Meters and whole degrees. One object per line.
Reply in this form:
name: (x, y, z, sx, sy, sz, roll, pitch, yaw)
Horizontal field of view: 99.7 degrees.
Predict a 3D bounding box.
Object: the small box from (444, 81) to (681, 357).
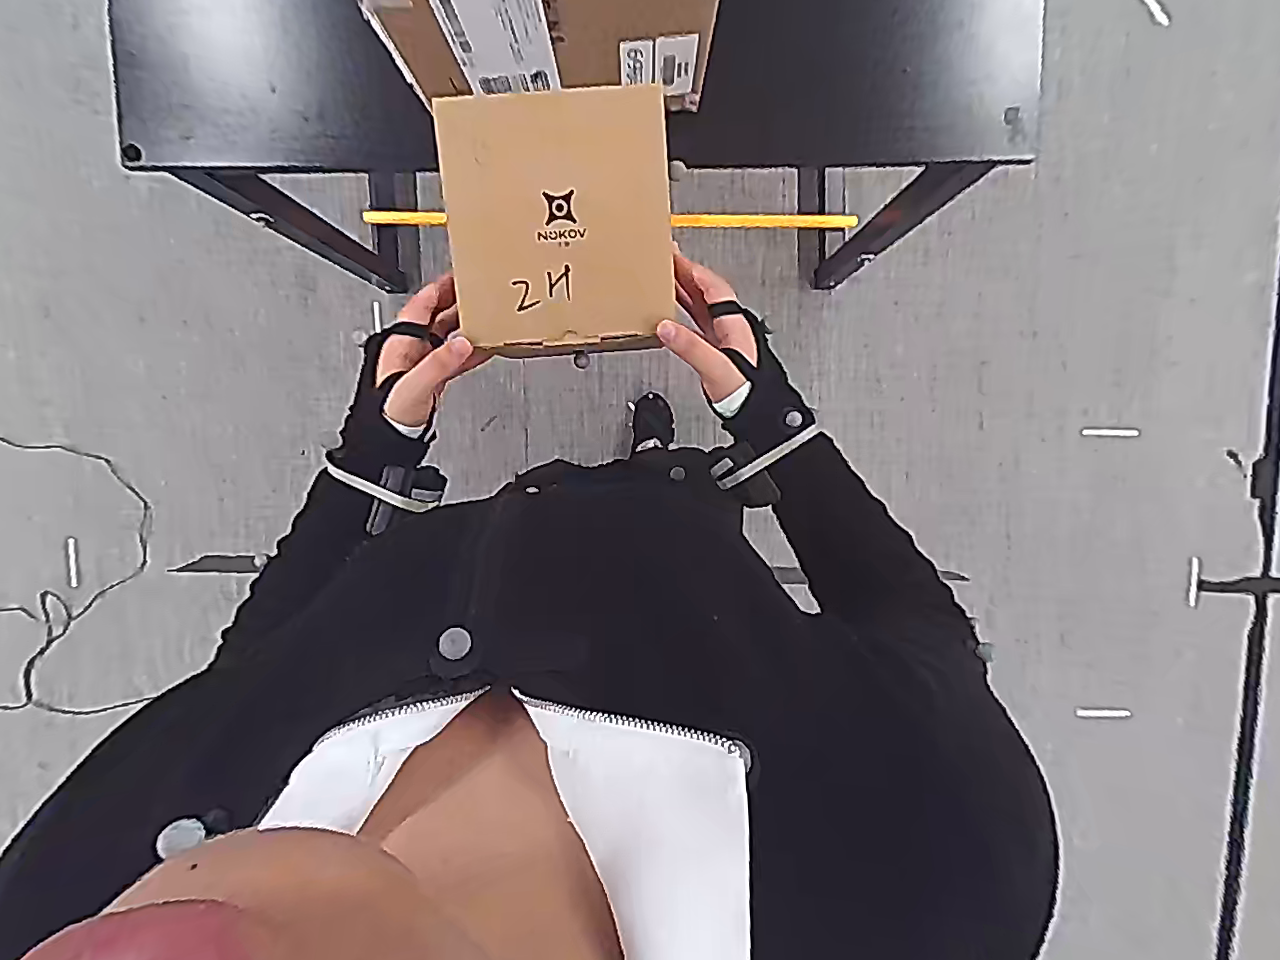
small box: (-0.057, -0.207, 0.476, 0.168, 0.176, 0.179, -4, 100, 0)
